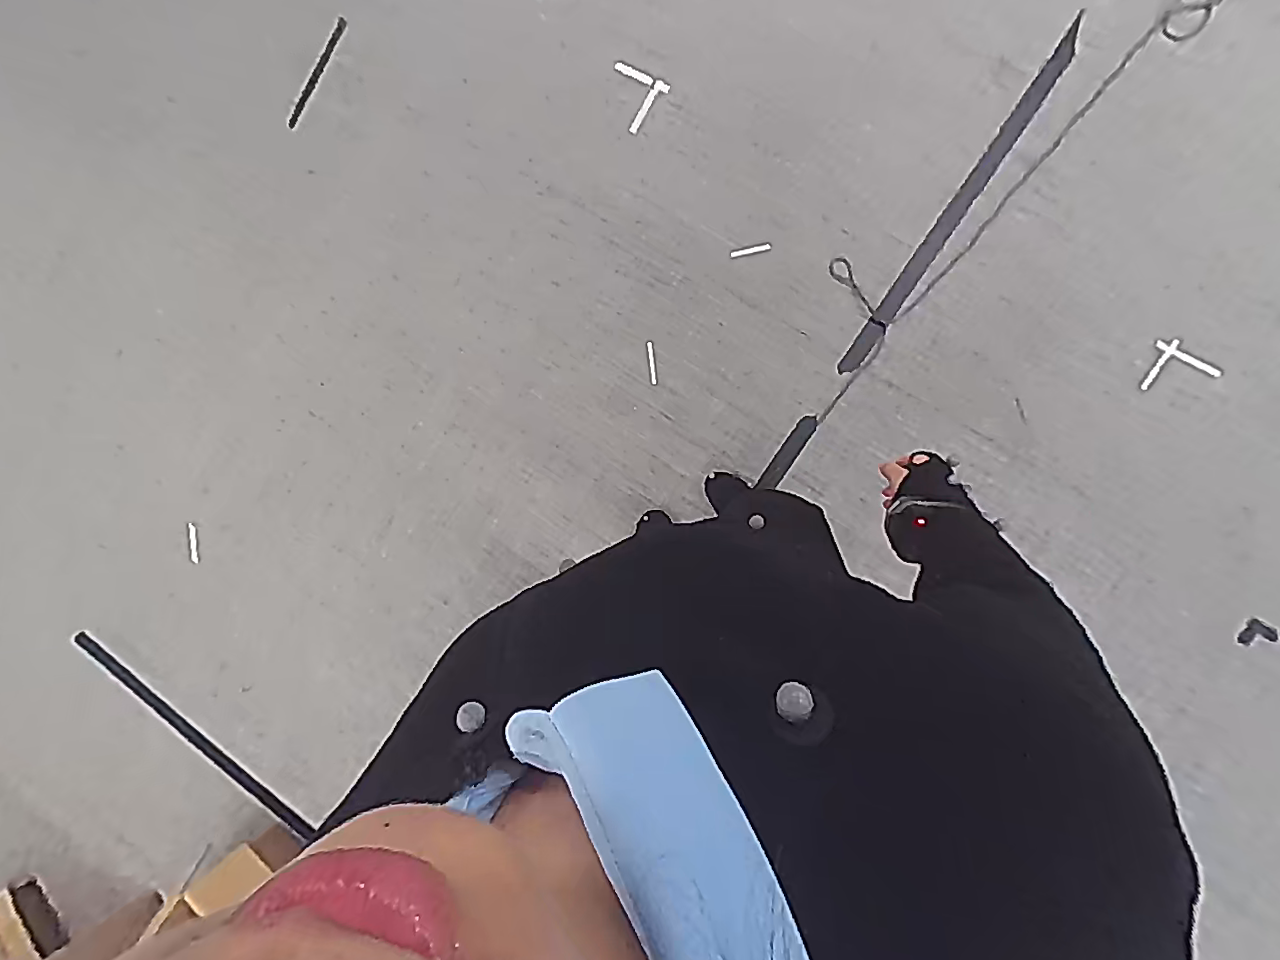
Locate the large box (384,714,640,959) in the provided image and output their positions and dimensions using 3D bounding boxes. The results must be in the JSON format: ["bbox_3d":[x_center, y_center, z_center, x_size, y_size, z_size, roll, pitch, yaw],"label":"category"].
[{"bbox_3d":[-0.261,0.814,1.217,0.408,0.320,0.320,28,93,10],"label":"large box"}]
